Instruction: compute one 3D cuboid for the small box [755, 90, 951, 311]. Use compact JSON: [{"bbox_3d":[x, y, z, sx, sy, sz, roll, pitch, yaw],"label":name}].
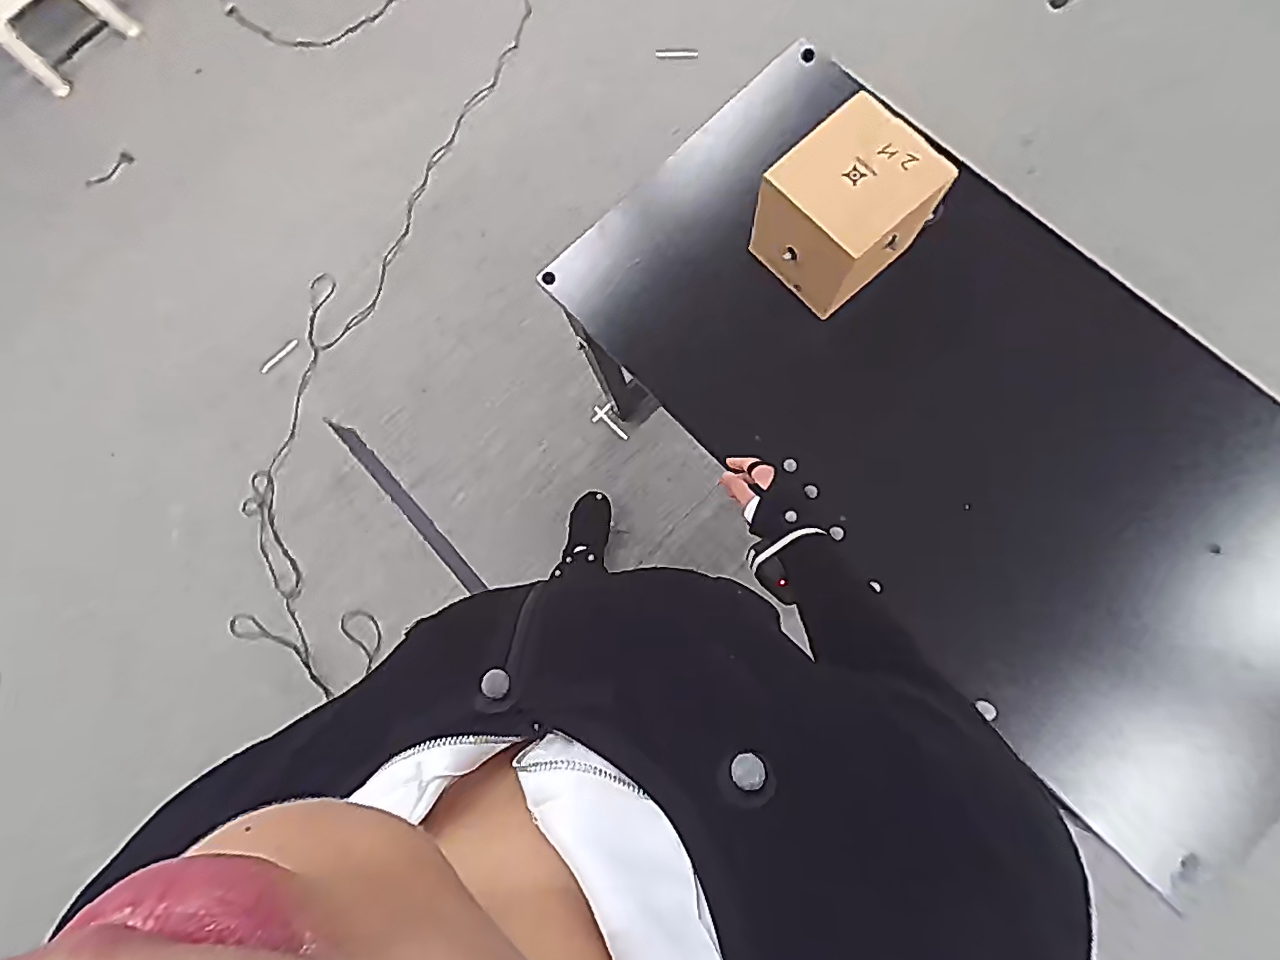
[{"bbox_3d":[0.277,-0.372,0.753,0.179,0.176,0.168,-41,79,-3],"label":"small box"}]
